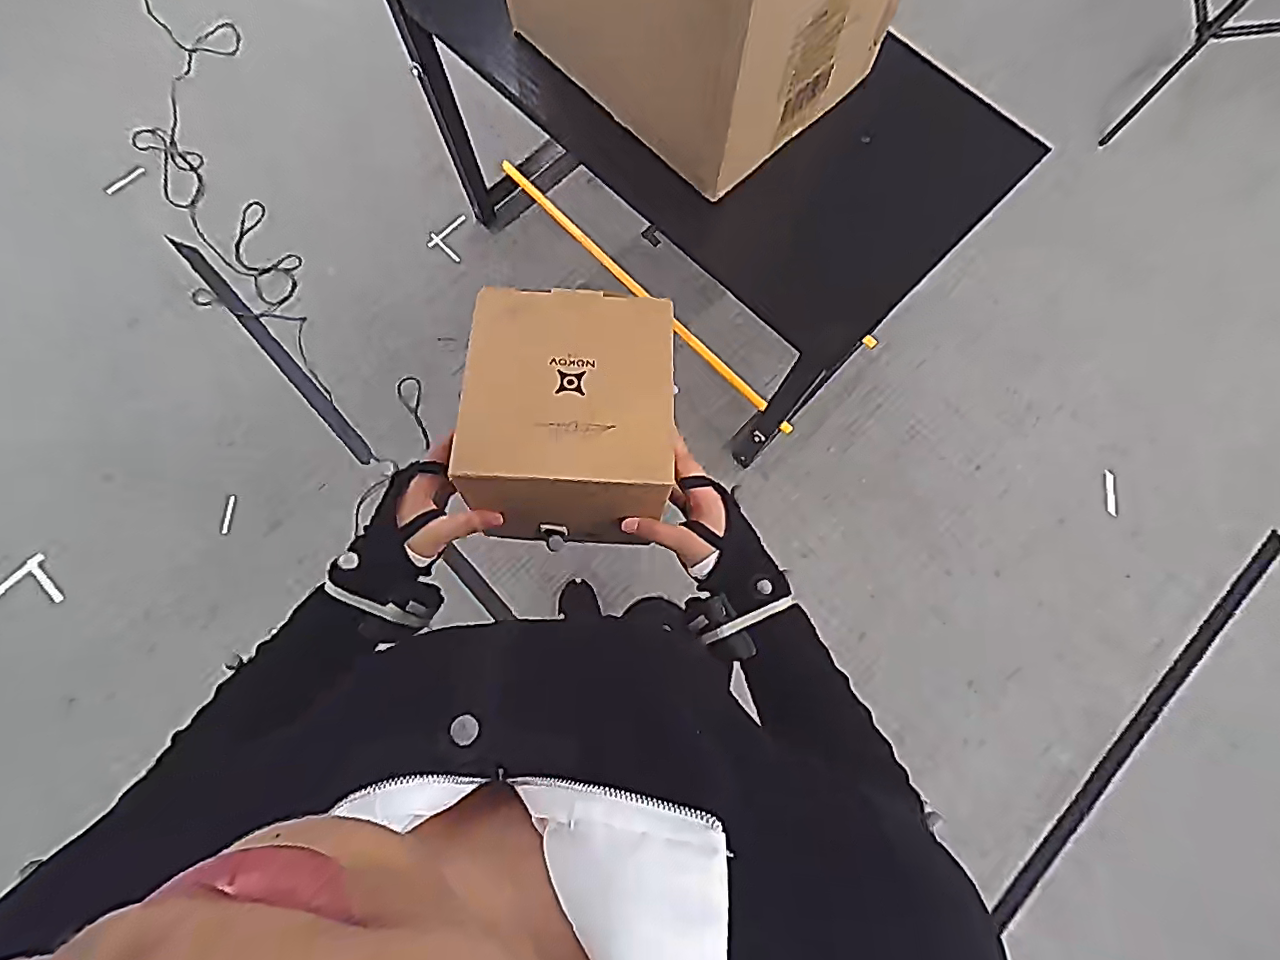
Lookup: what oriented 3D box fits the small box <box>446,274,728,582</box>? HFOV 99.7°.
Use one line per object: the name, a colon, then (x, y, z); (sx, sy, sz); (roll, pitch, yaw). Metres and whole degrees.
small box: (-0.036, -0.027, 0.415); (0.168, 0.176, 0.179); (2, 68, -5)
